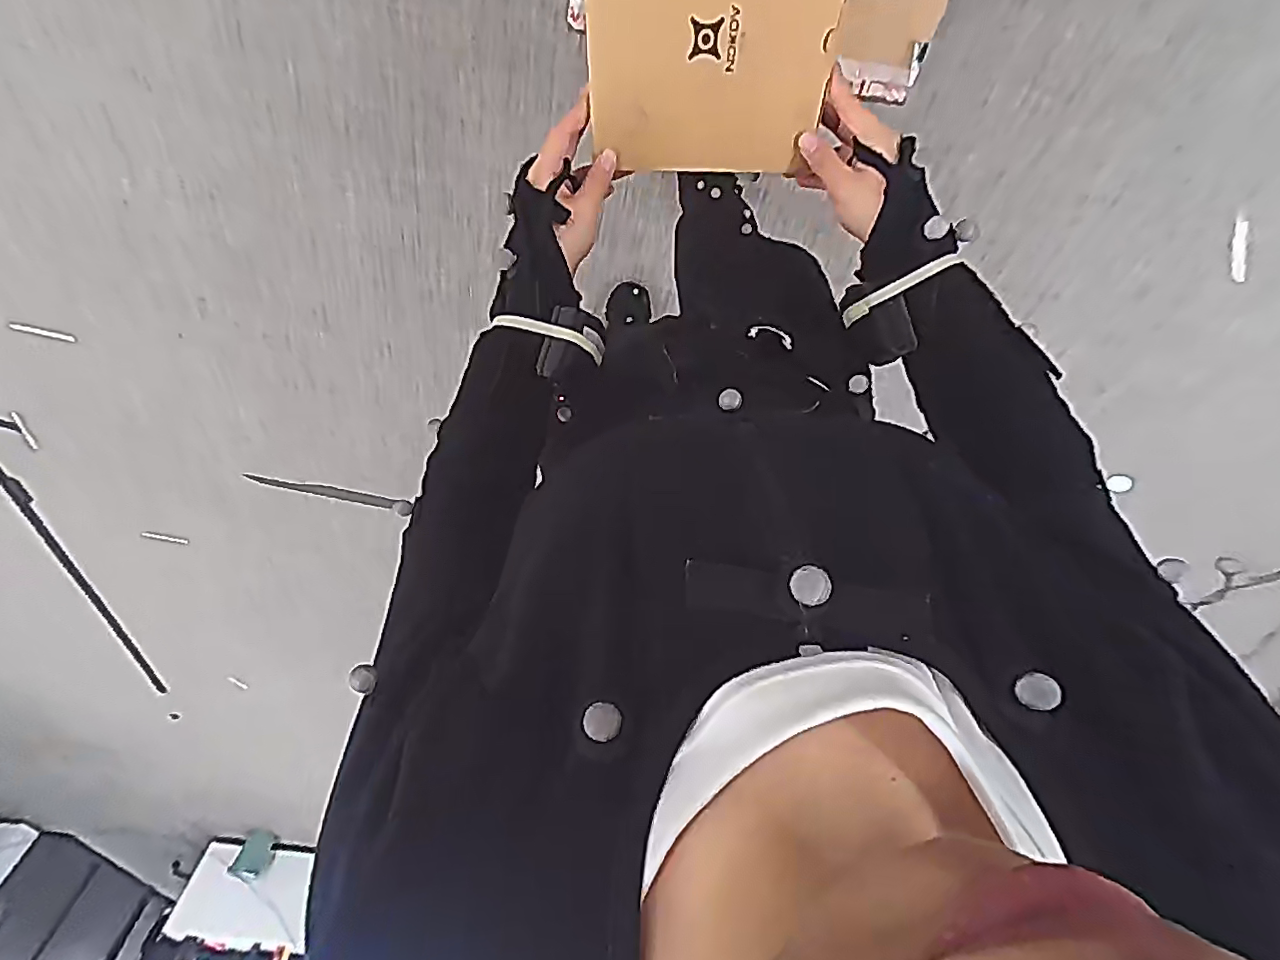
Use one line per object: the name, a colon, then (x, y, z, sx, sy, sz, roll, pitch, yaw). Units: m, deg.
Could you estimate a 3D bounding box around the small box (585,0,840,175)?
small box: (0.049, -0.365, 0.441, 0.179, 0.176, 0.168, 0, 135, -1)
